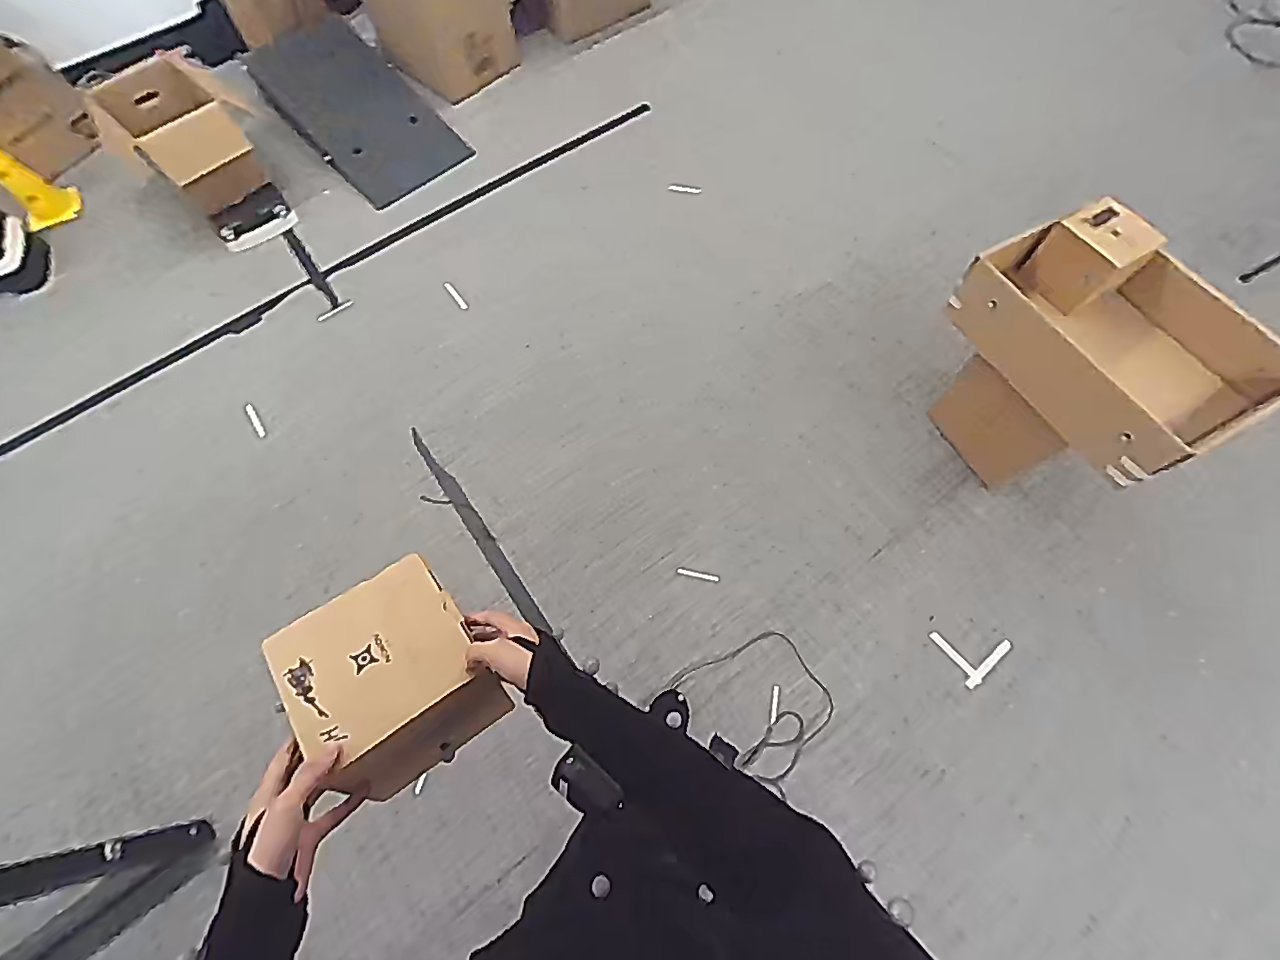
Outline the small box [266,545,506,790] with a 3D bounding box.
[{"bbox_3d":[-0.265,0.211,0.606,0.179,0.176,0.168,-31,61,-22],"label":"small box"}]
